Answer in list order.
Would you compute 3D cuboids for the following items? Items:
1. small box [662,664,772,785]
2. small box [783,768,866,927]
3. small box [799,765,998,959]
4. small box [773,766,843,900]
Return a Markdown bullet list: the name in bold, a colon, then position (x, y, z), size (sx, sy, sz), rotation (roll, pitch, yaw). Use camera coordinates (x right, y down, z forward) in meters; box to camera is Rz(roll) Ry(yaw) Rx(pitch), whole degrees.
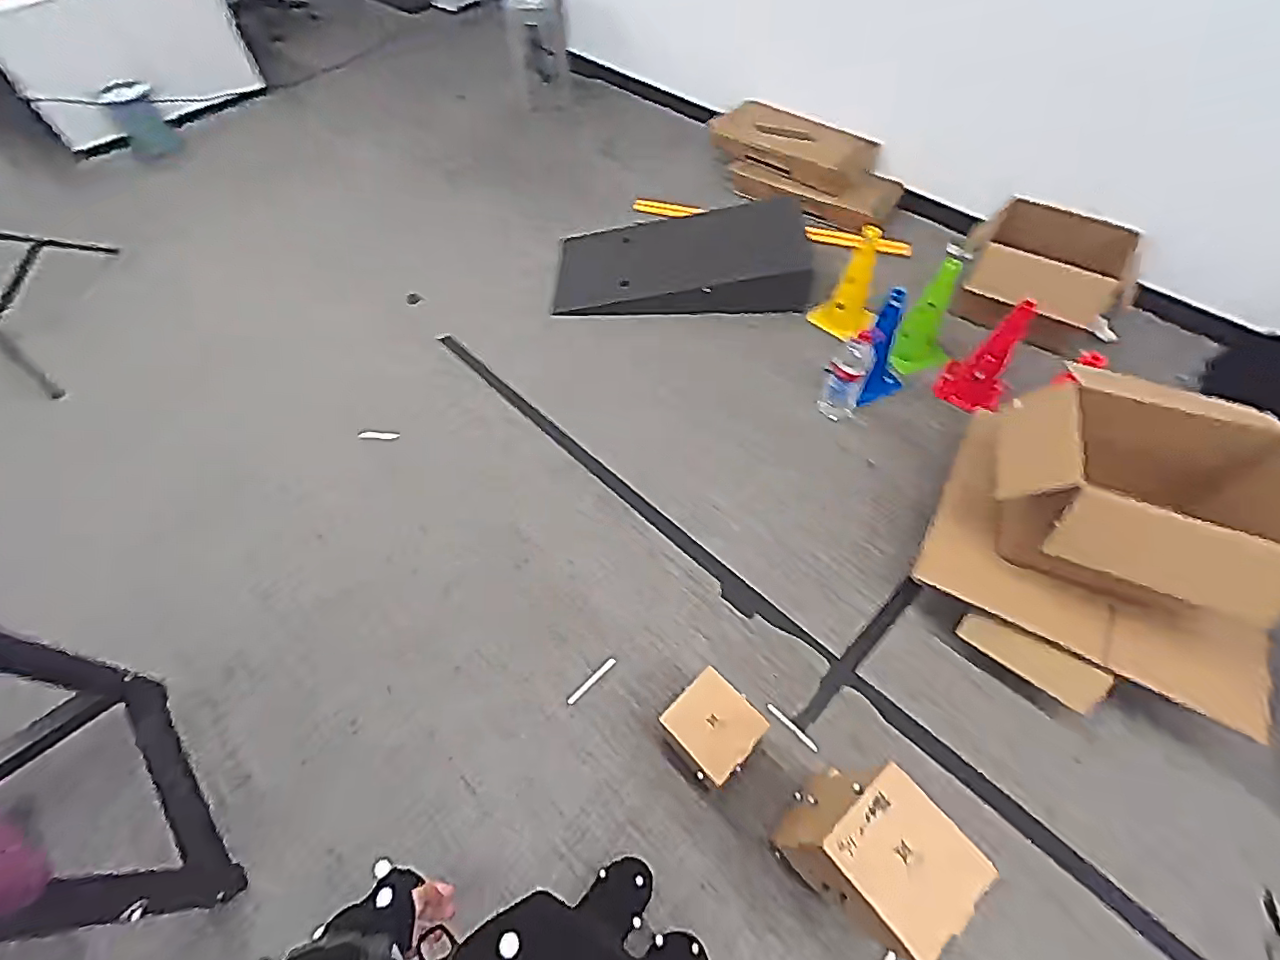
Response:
- **small box**: position (0.161, 0.551, 1.208), size (0.168, 0.176, 0.179), rotation (-39, 65, -21)
- **small box**: position (0.376, 0.644, 0.947), size (0.168, 0.176, 0.179), rotation (-38, 65, -20)
- **small box**: position (0.370, 0.558, 0.808), size (0.168, 0.176, 0.179), rotation (-35, 64, -19)
- **small box**: position (0.388, 0.719, 1.095), size (0.179, 0.176, 0.168), rotation (-40, 65, -22)
